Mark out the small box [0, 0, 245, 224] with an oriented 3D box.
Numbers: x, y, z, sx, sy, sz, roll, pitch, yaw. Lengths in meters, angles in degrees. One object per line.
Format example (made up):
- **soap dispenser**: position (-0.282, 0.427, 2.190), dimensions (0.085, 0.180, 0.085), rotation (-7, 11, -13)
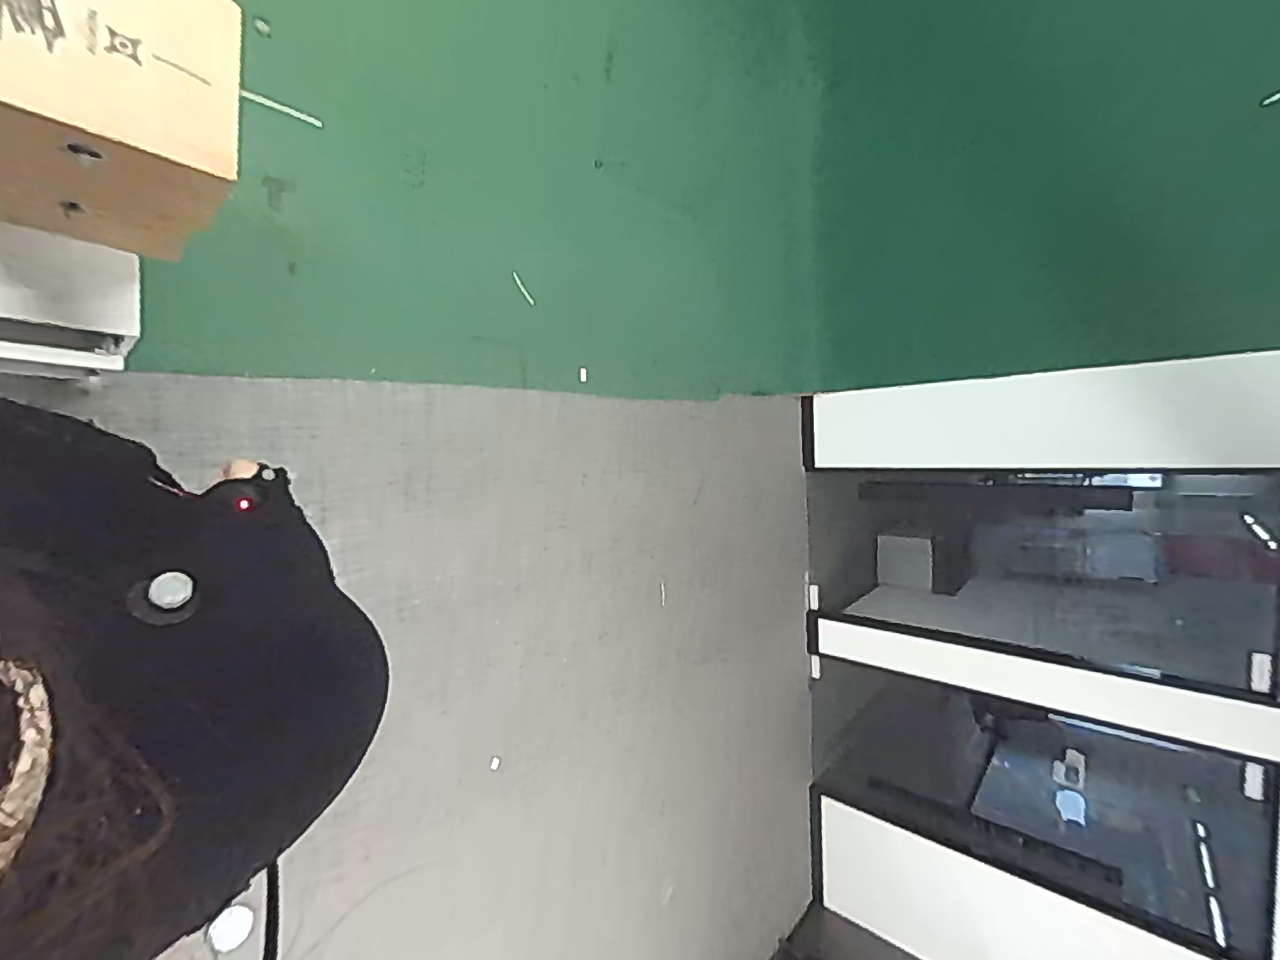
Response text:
- **small box**: position (-0.485, -0.358, 0.488), dimensions (0.179, 0.176, 0.168), rotation (2, 90, -48)
